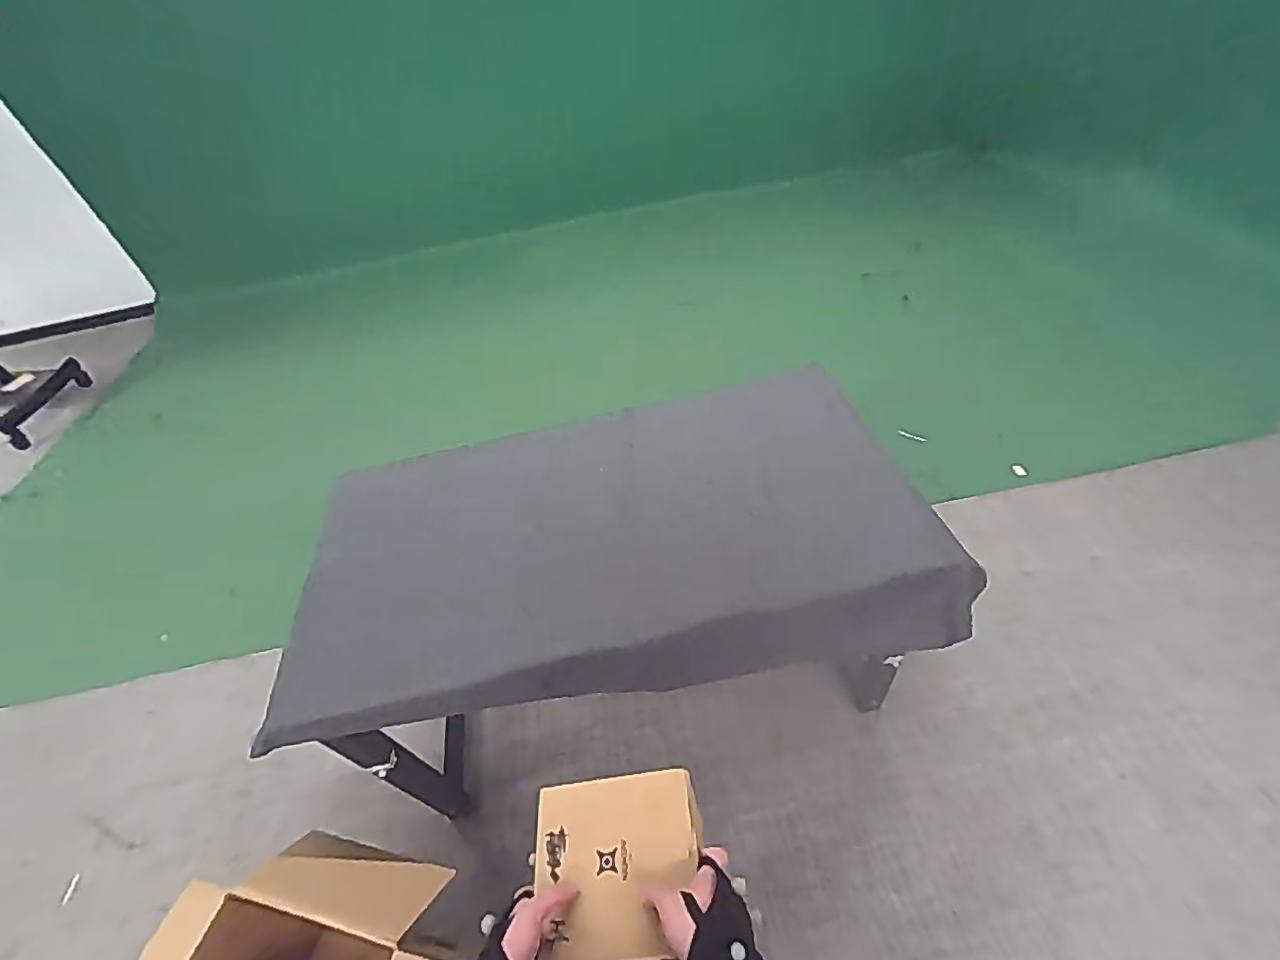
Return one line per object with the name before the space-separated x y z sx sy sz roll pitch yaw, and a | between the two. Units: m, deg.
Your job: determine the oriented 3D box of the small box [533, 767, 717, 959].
small box | -0.010 0.451 0.614 0.179 0.176 0.168 -9 42 3
